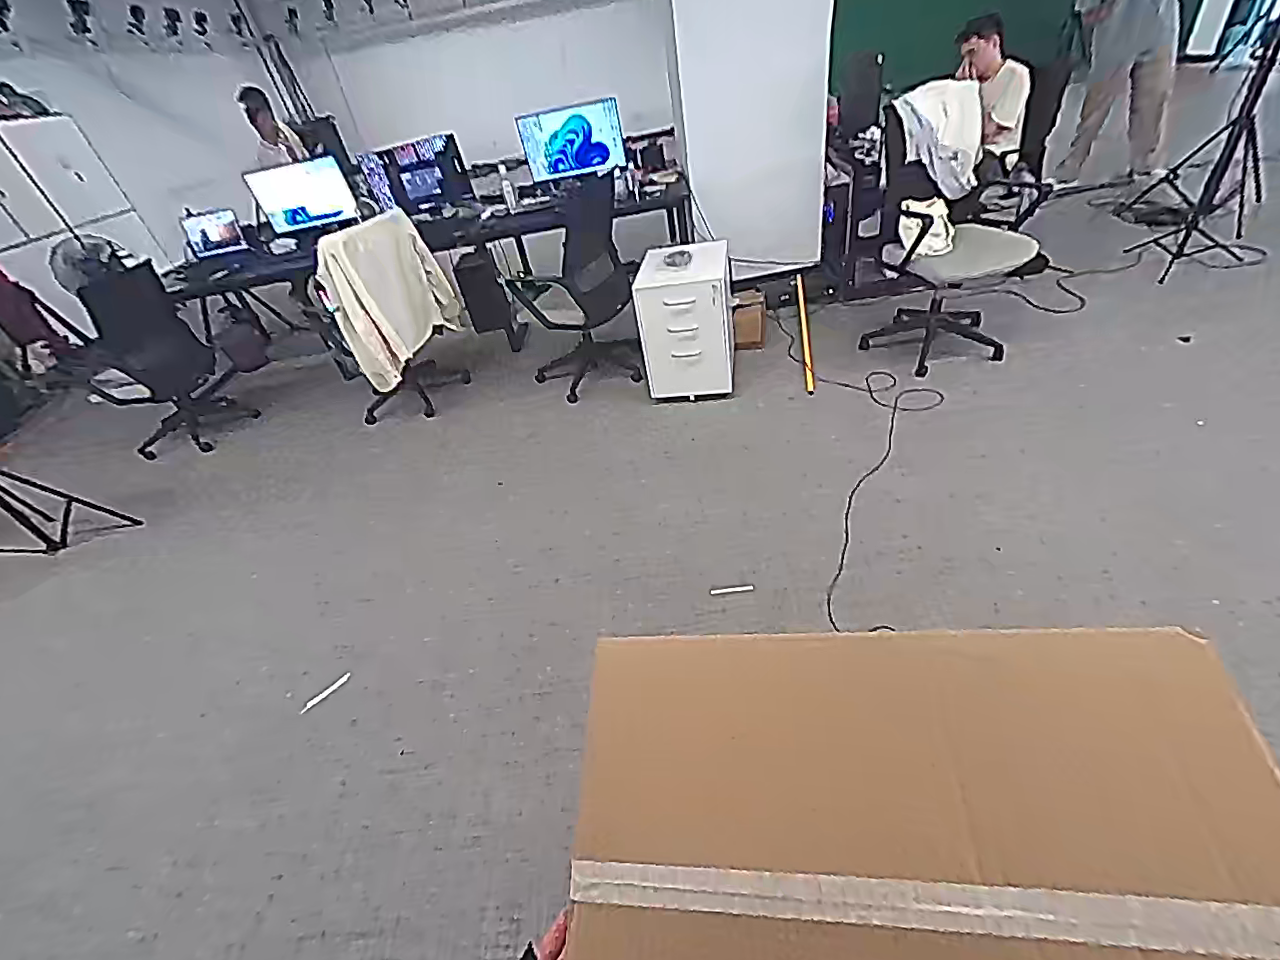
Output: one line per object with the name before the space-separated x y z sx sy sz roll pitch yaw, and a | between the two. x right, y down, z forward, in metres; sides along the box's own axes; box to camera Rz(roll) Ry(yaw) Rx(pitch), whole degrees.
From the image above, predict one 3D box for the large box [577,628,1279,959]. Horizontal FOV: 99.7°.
large box | 0.188 0.327 0.431 0.408 0.320 0.320 -5 55 13
